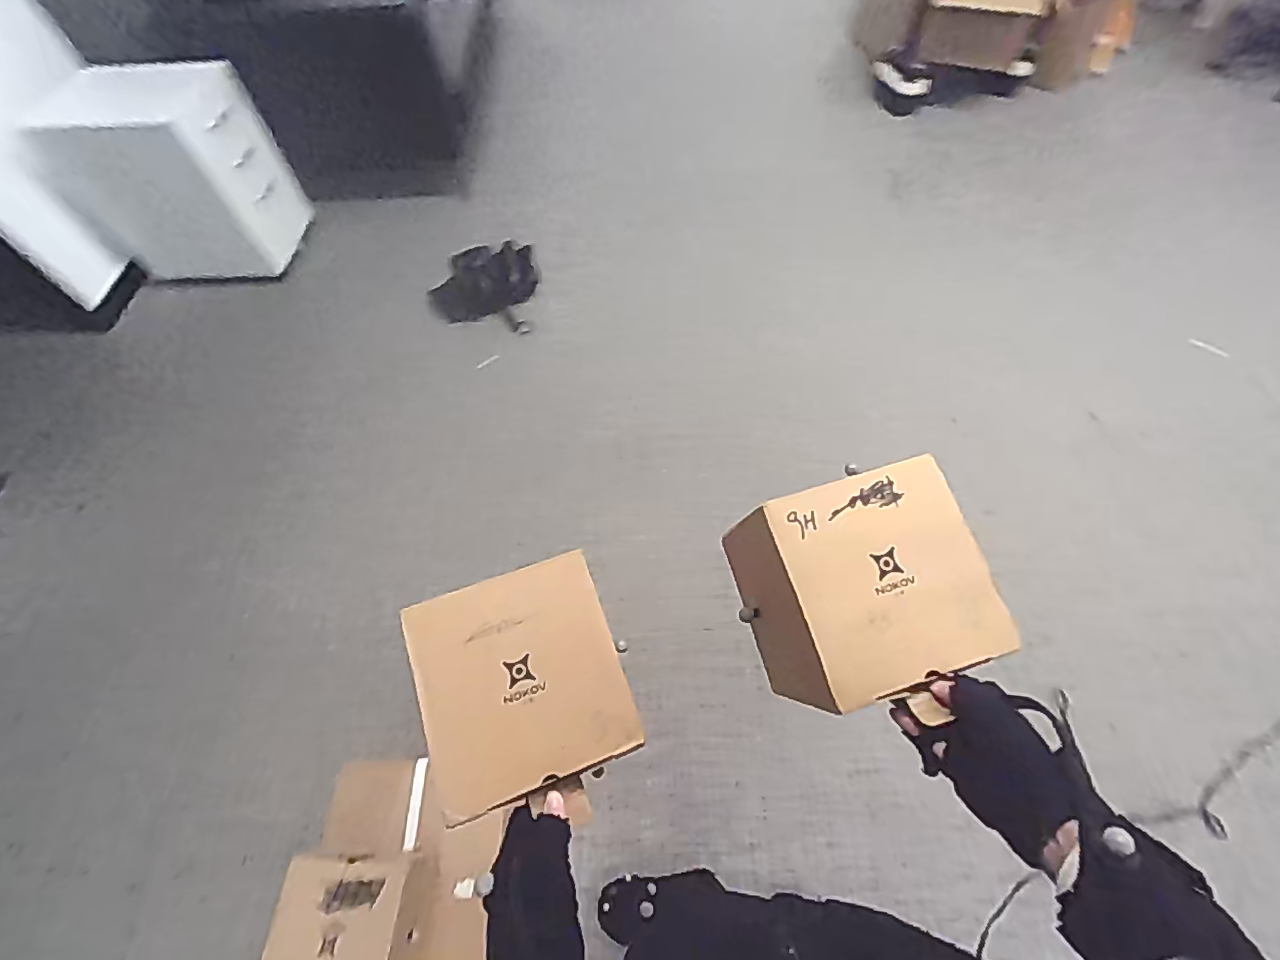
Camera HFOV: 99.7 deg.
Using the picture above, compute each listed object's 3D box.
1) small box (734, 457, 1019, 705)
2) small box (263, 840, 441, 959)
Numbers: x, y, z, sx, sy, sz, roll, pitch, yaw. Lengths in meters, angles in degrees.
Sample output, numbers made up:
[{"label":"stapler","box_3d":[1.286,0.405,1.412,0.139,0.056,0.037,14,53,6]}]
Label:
[{"label":"small box","box_3d":[0.208,0.096,0.529,0.168,0.176,0.179,-14,77,-8]},{"label":"small box","box_3d":[-0.409,0.641,0.791,0.168,0.176,0.179,5,59,1]}]
